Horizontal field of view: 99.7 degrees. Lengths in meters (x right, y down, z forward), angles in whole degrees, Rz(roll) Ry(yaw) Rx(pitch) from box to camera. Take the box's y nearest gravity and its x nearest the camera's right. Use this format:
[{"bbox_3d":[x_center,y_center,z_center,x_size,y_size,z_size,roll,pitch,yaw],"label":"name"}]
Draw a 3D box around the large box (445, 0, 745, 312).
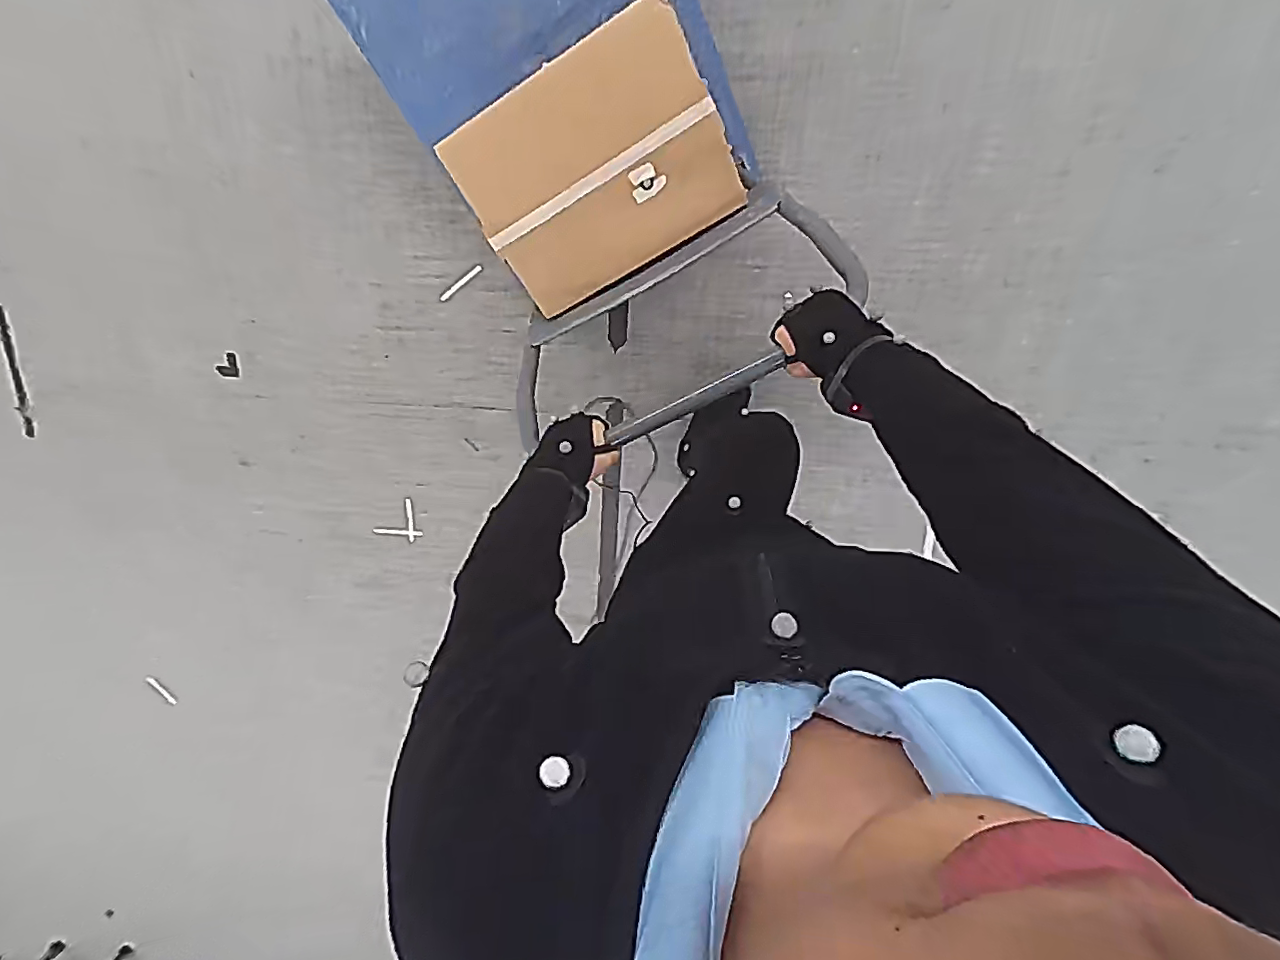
[{"bbox_3d":[-0.076,-0.584,1.002,0.408,0.320,0.320,-27,123,13],"label":"large box"}]
